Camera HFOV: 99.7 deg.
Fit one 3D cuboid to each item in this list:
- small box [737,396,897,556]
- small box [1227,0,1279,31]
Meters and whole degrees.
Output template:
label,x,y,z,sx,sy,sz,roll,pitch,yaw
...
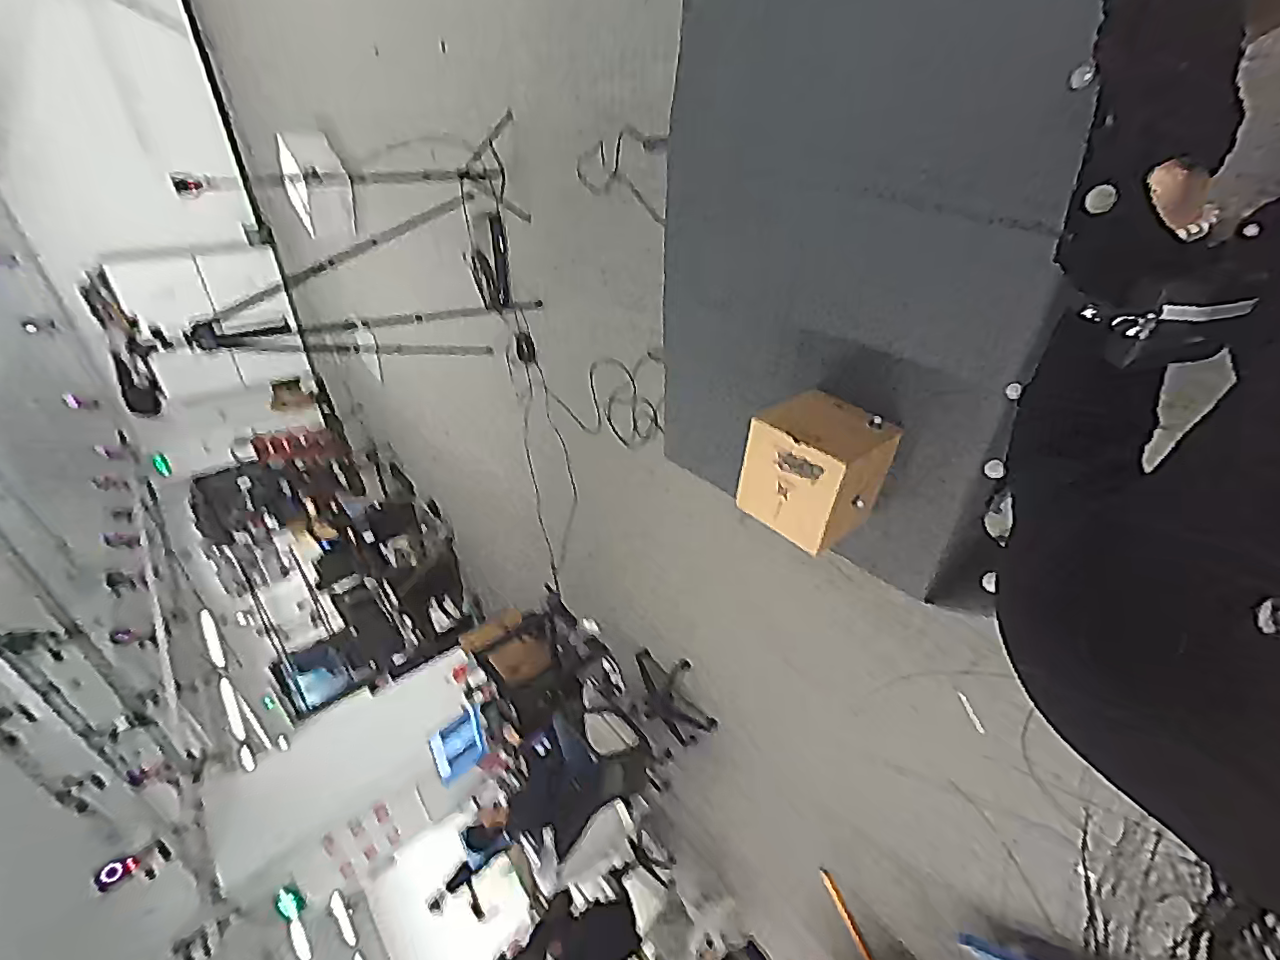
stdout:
label,x,y,z,sx,sy,sz,roll,pitch,yaw
small box,0.286,-0.016,0.877,0.168,0.176,0.179,35,136,36
small box,0.397,-0.375,0.260,0.179,0.176,0.168,-17,96,50
